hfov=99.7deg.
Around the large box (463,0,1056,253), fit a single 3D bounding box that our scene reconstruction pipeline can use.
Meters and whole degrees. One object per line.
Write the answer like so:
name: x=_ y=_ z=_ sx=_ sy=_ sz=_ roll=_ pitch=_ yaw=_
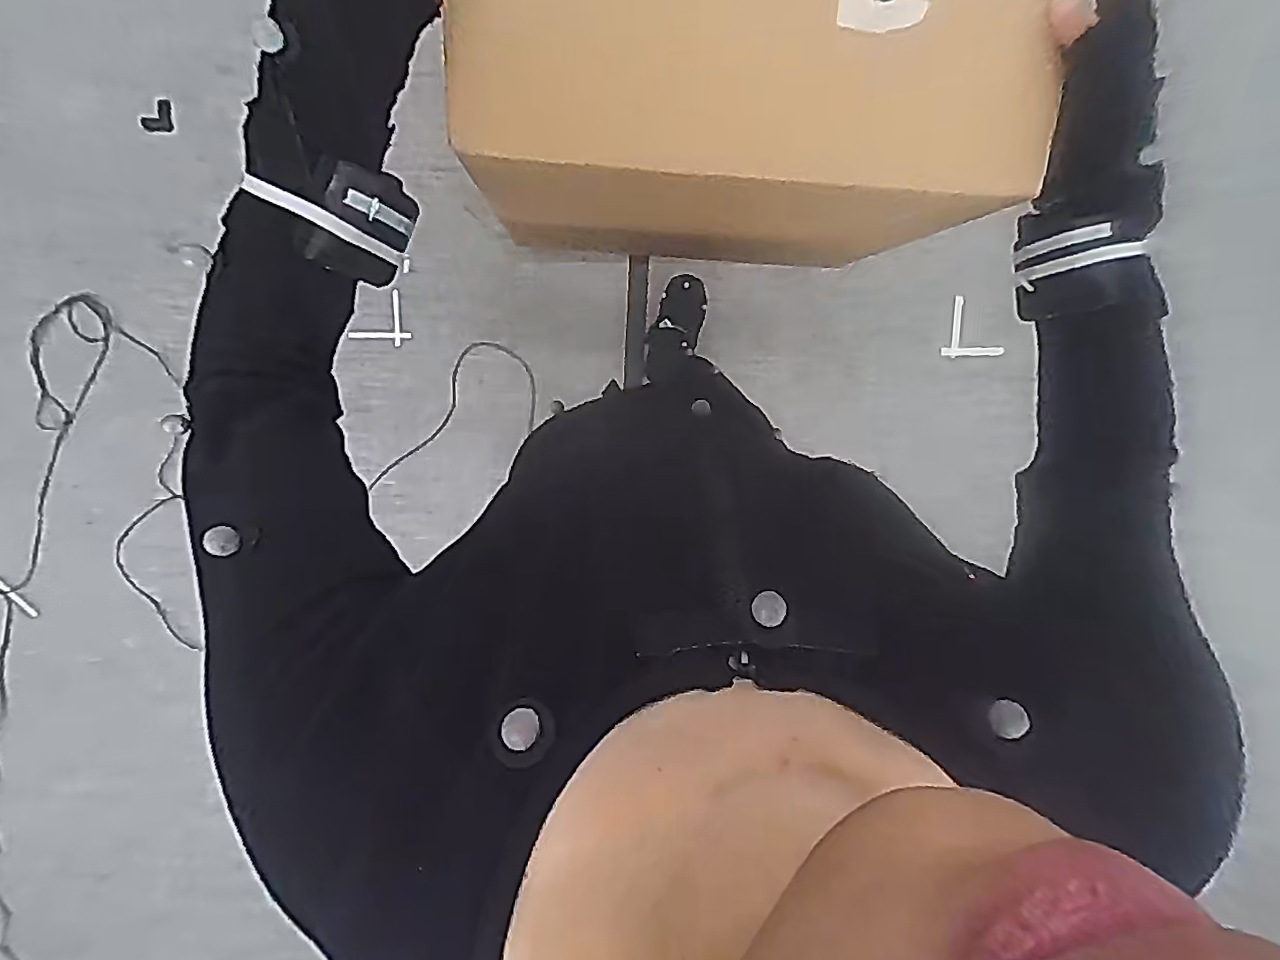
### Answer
large box: x=0.071 y=-0.401 z=0.485 sx=0.408 sy=0.320 sz=0.320 roll=0 pitch=103 yaw=-6
